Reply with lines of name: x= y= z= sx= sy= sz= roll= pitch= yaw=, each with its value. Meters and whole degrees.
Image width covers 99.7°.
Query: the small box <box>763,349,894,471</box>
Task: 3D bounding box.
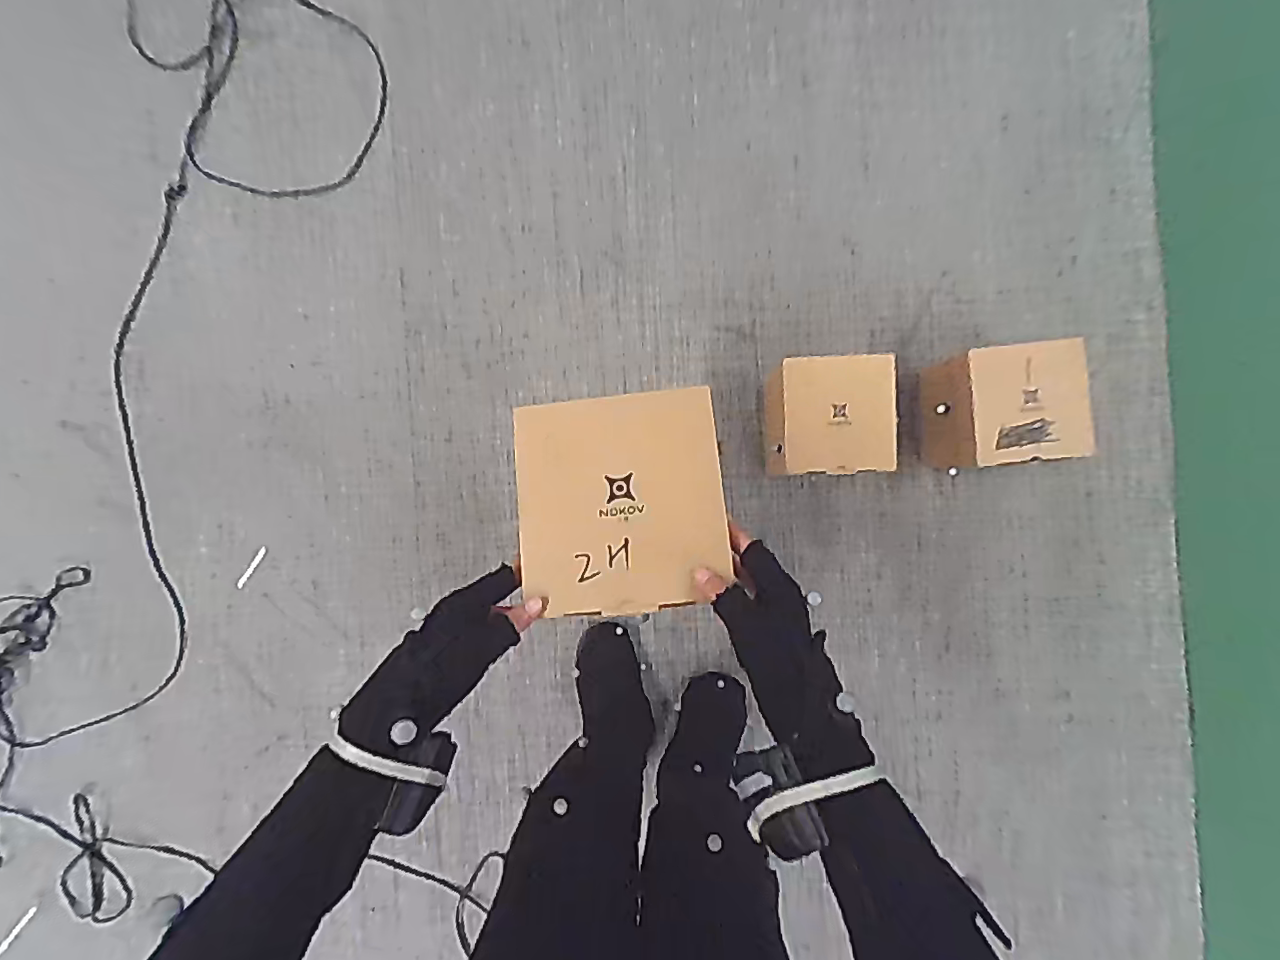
small box: x=0.295 y=-0.105 z=0.878 sx=0.168 sy=0.176 sz=0.179 roll=-2 pitch=91 yaw=4

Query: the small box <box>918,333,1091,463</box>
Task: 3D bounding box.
small box: x=0.563 y=-0.120 z=0.858 sx=0.168 sy=0.176 sz=0.179 roll=-5 pitch=90 yaw=4

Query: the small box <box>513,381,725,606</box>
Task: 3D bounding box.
small box: x=-0.015 y=0.023 z=0.519 sx=0.168 sy=0.176 sz=0.179 roll=-6 pitch=80 yaw=4
